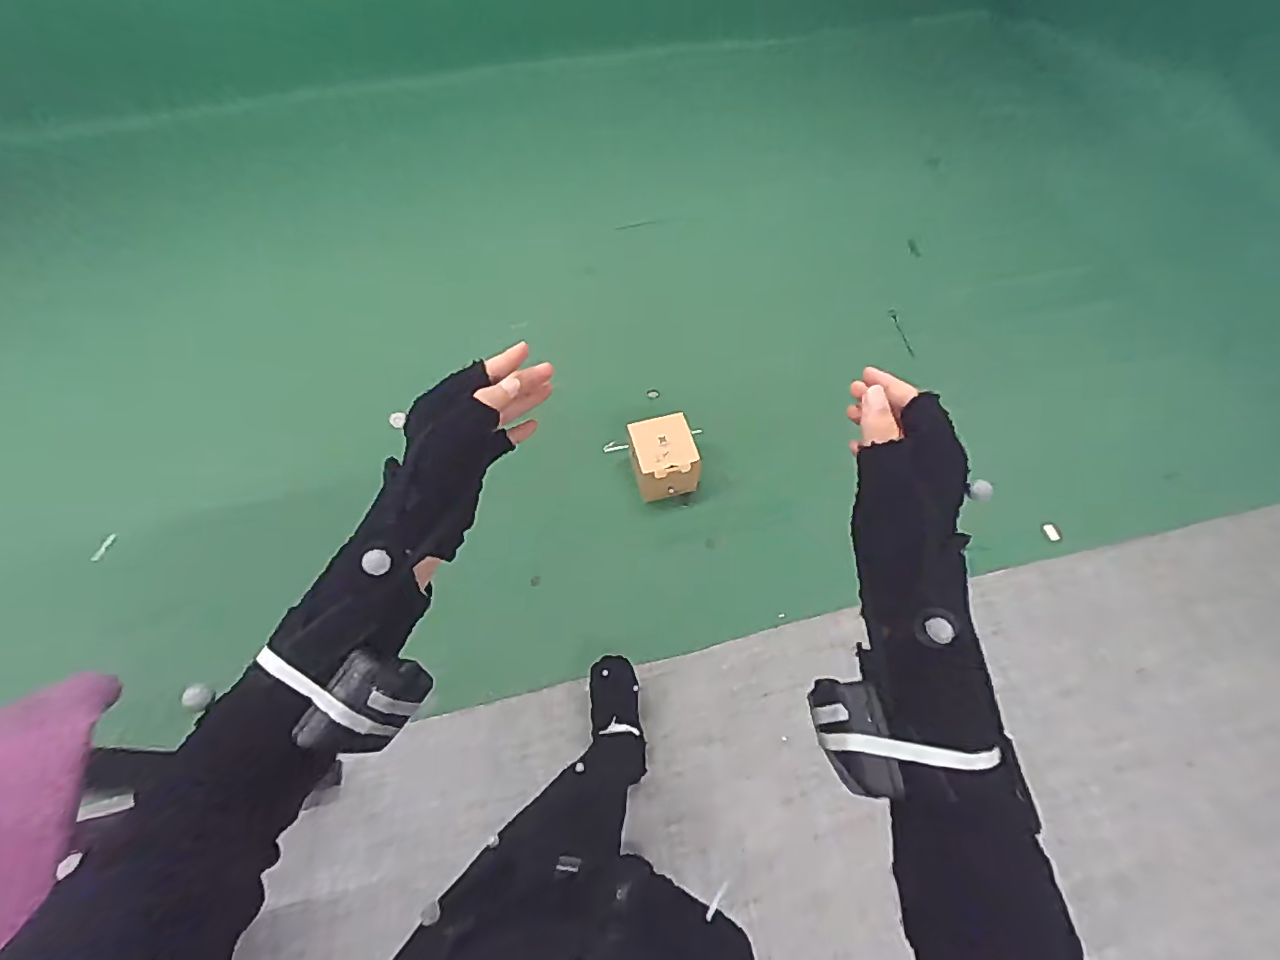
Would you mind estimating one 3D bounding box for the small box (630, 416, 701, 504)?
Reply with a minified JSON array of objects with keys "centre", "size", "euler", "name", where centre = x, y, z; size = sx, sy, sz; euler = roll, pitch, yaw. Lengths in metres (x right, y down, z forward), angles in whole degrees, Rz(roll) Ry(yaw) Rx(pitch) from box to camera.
[{"centre":[0.068,-0.056,1.576],"size":[0.168,0.176,0.179],"euler":[-13,61,-7],"name":"small box"}]
